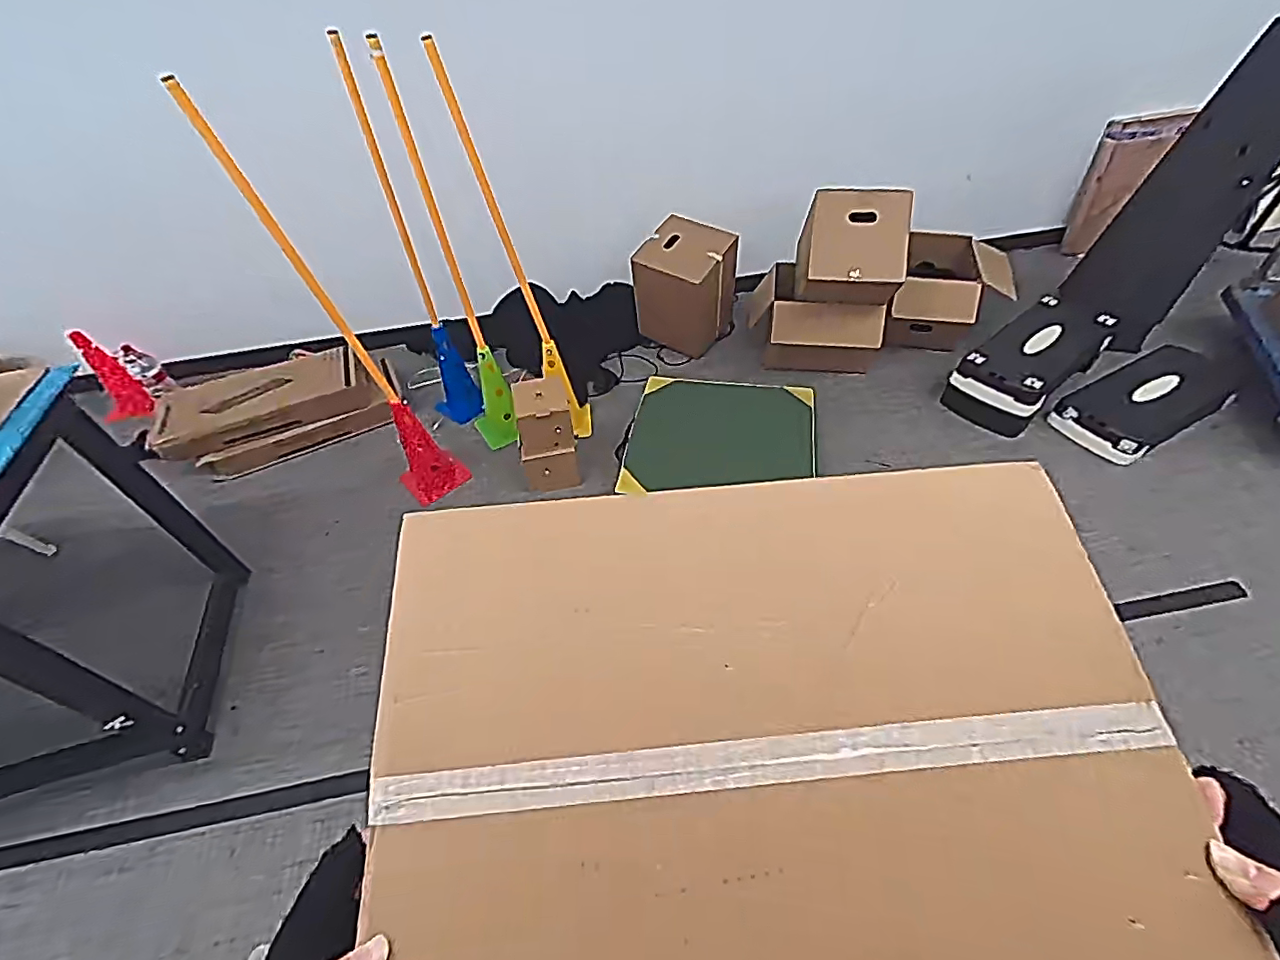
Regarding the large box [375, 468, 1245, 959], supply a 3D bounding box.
[{"bbox_3d":[0.069,0.214,0.419,0.408,0.320,0.320,-5,64,-1],"label":"large box"}]
